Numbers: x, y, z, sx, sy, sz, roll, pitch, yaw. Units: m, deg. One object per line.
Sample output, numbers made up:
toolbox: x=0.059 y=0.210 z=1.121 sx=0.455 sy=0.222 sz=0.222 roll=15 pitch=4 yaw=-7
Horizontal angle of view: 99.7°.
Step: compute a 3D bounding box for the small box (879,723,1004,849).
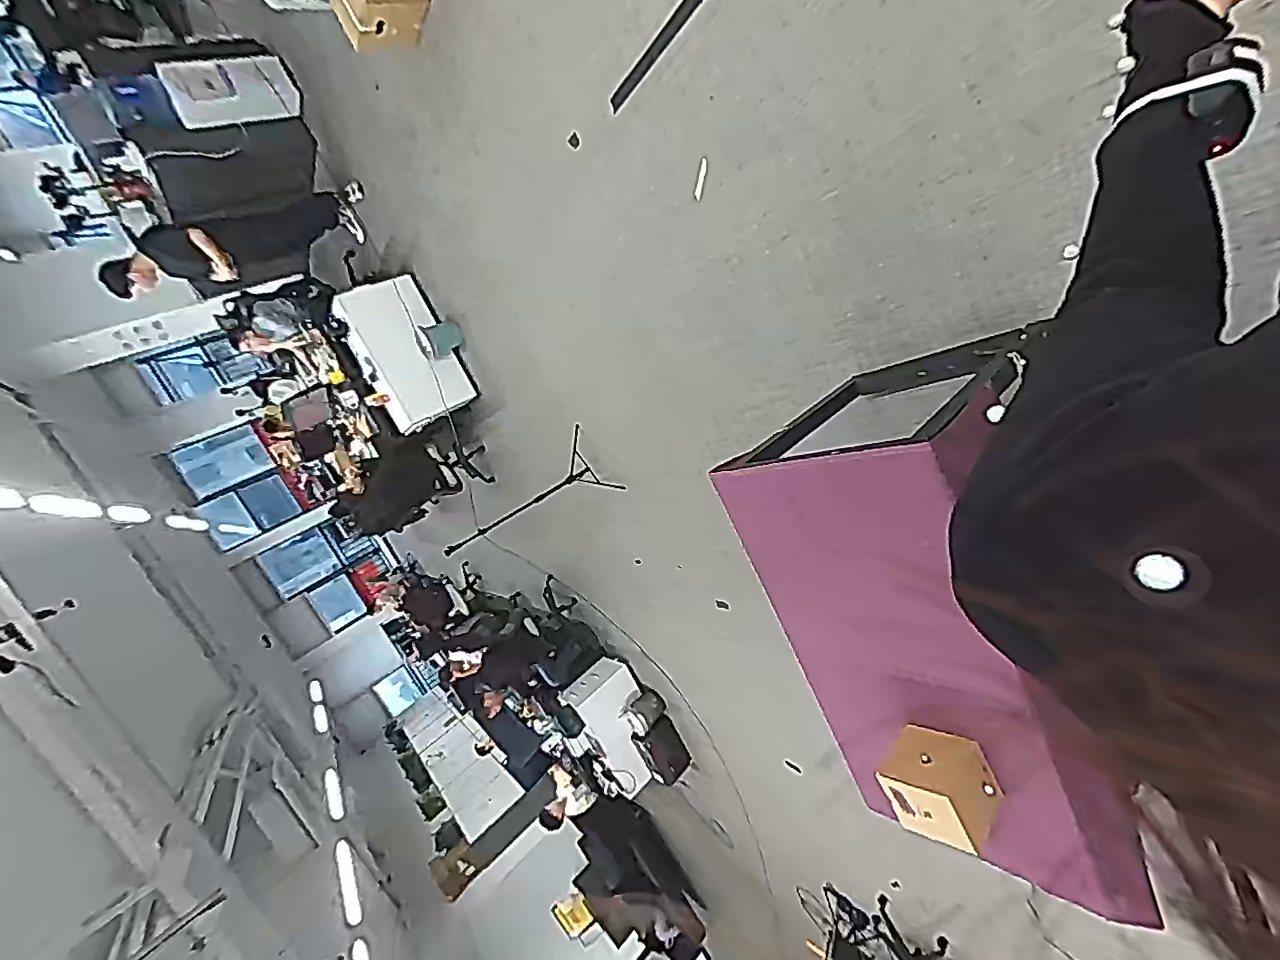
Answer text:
small box: x=0.707 y=0.701 z=1.266 sx=0.179 sy=0.176 sz=0.168 roll=-17 pitch=105 yaw=57
